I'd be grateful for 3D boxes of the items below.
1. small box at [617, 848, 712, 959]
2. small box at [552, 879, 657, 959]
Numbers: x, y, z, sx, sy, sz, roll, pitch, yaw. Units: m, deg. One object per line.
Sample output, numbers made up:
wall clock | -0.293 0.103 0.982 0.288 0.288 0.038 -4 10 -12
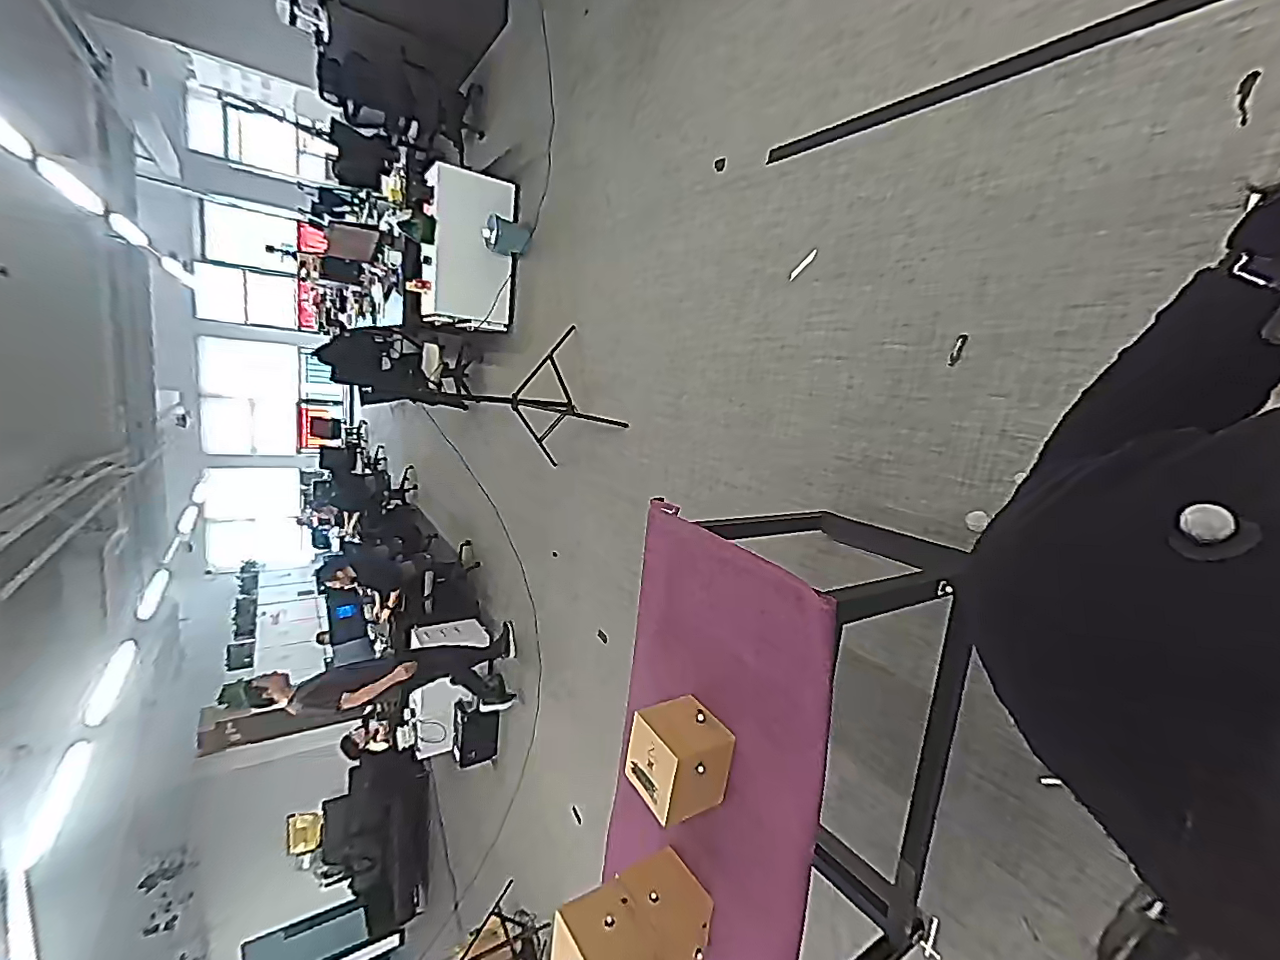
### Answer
small box | 0.053 1.038 1.298 0.179 0.176 0.168 21 108 54
small box | -0.079 1.045 1.198 0.168 0.176 0.179 20 107 54
